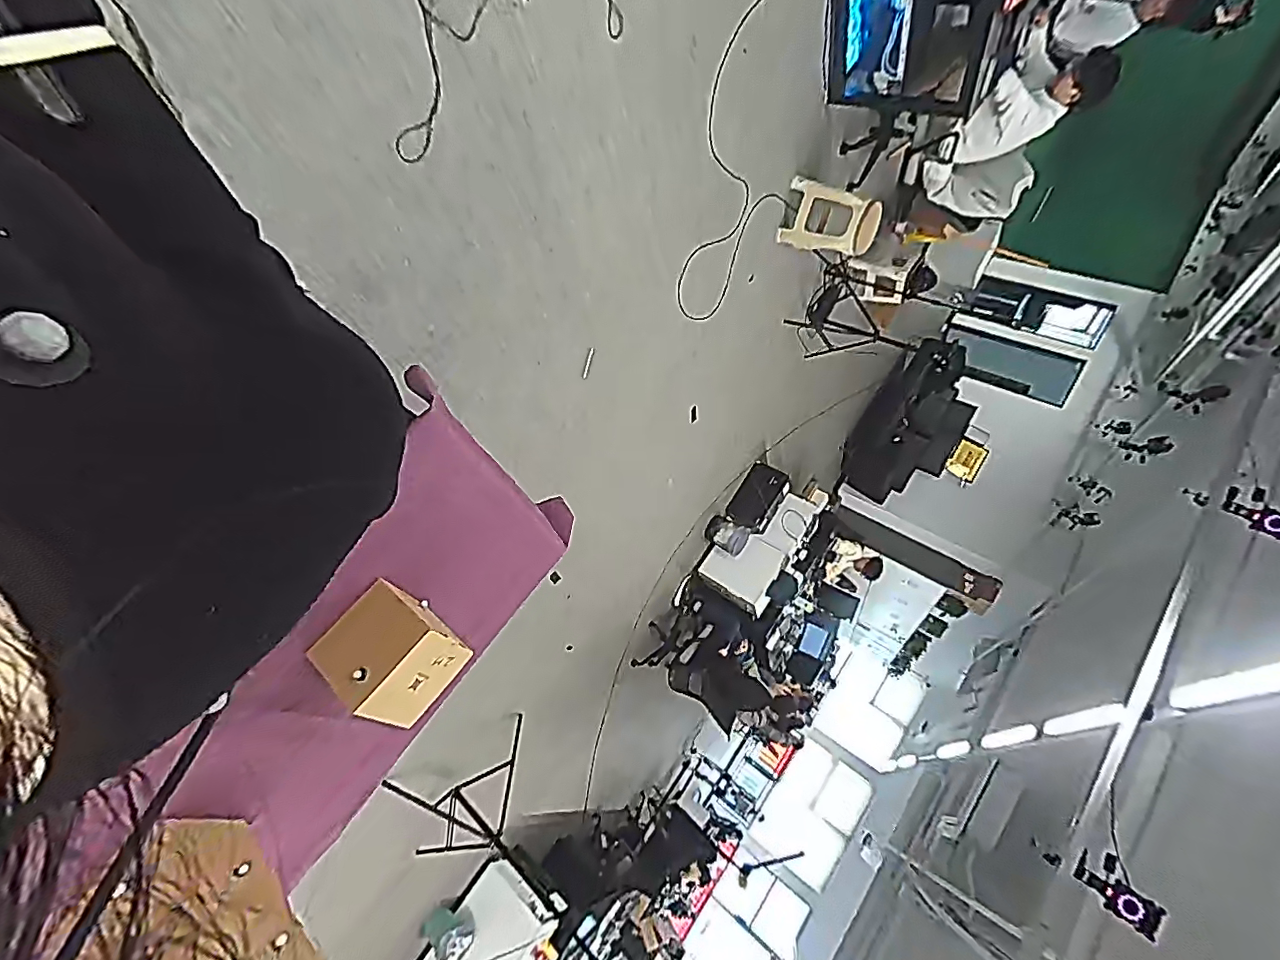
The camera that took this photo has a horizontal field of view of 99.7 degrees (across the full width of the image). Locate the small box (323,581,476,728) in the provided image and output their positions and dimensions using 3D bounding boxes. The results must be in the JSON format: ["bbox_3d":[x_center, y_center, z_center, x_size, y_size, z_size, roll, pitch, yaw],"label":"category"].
[{"bbox_3d":[-0.450,0.322,1.006,0.179,0.176,0.168,-50,151,-19],"label":"small box"}]

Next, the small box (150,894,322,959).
[{"bbox_3d":[-0.610,0.753,0.797,0.168,0.176,0.179,-50,151,-20],"label":"small box"}]

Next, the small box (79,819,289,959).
[{"bbox_3d":[-0.734,0.684,0.879,0.168,0.176,0.179,-51,150,-18],"label":"small box"}]
